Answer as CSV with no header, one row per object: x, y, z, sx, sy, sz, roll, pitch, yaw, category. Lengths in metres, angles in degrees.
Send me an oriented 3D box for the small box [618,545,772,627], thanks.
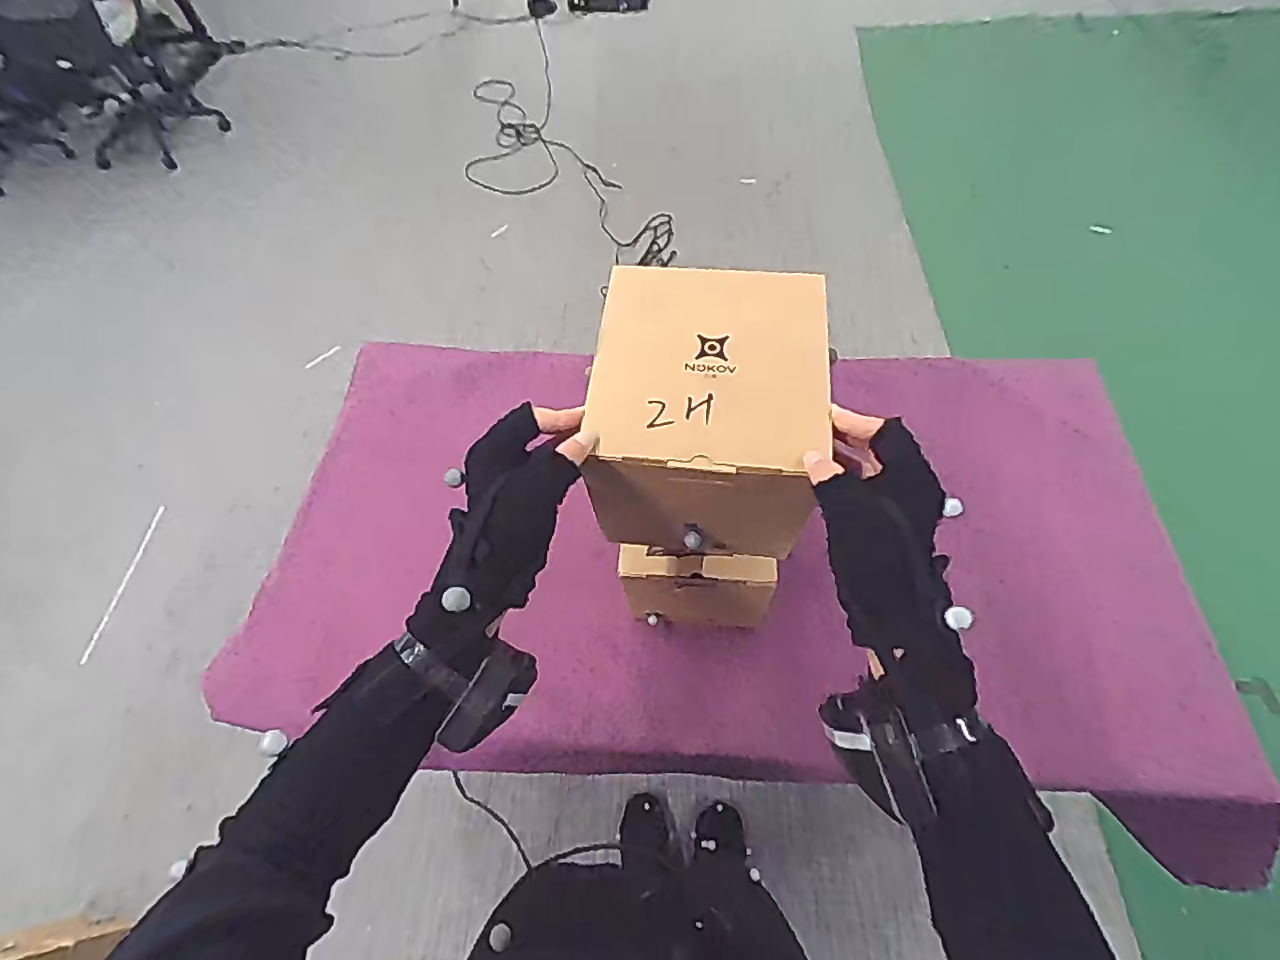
0.071,0.074,0.675,0.168,0.176,0.179,3,59,6,small box

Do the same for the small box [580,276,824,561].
0.054,-0.046,0.466,0.168,0.176,0.179,5,63,6,small box
